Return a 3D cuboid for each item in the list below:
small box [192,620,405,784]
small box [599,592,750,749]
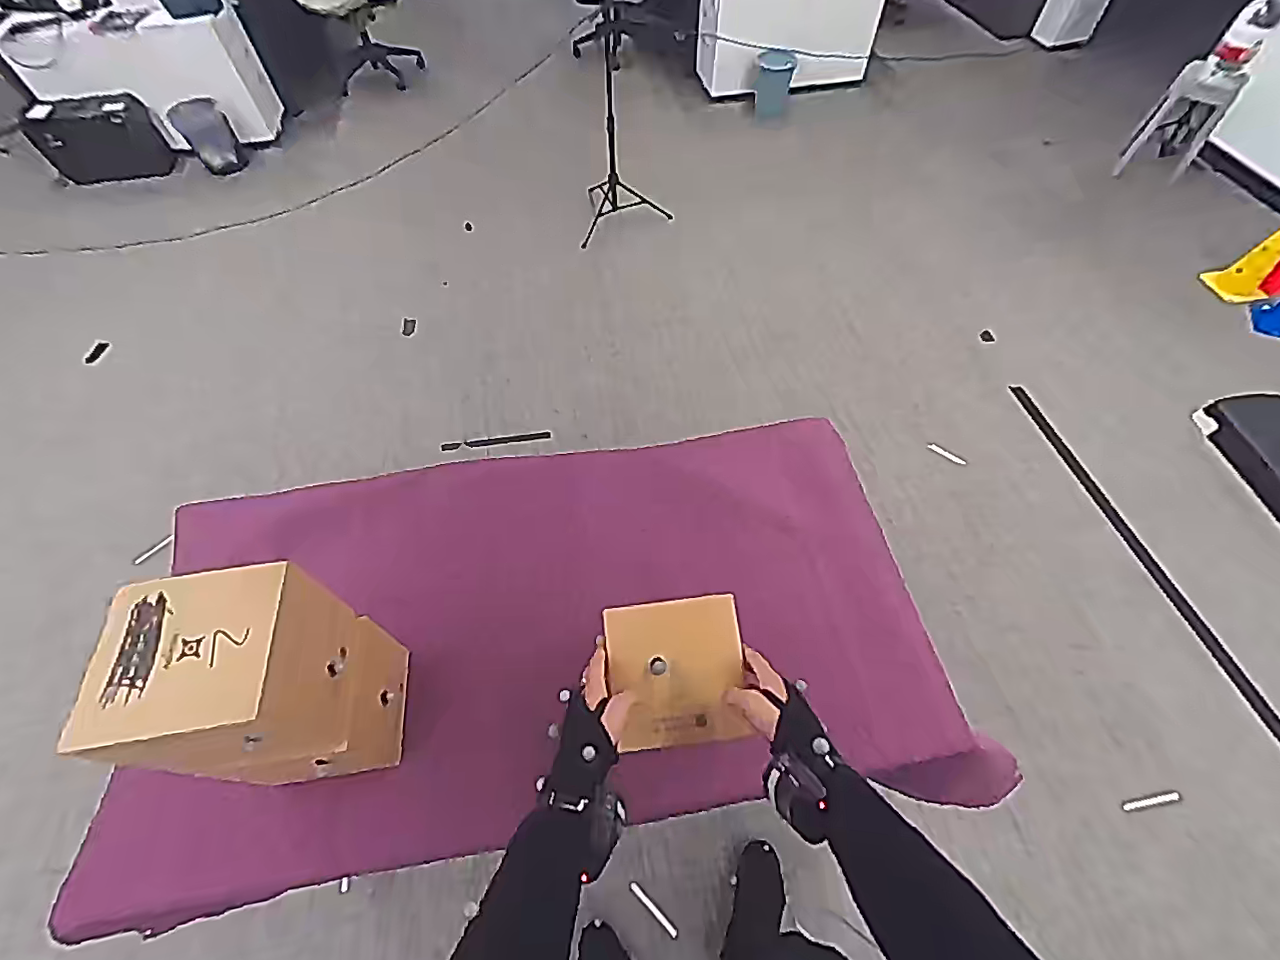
[{"bbox_3d":[-0.440,0.305,0.734,0.179,0.176,0.168,-7,57,-4],"label":"small box"},{"bbox_3d":[0.040,0.251,0.728,0.168,0.179,0.176,-7,76,-3],"label":"small box"}]
